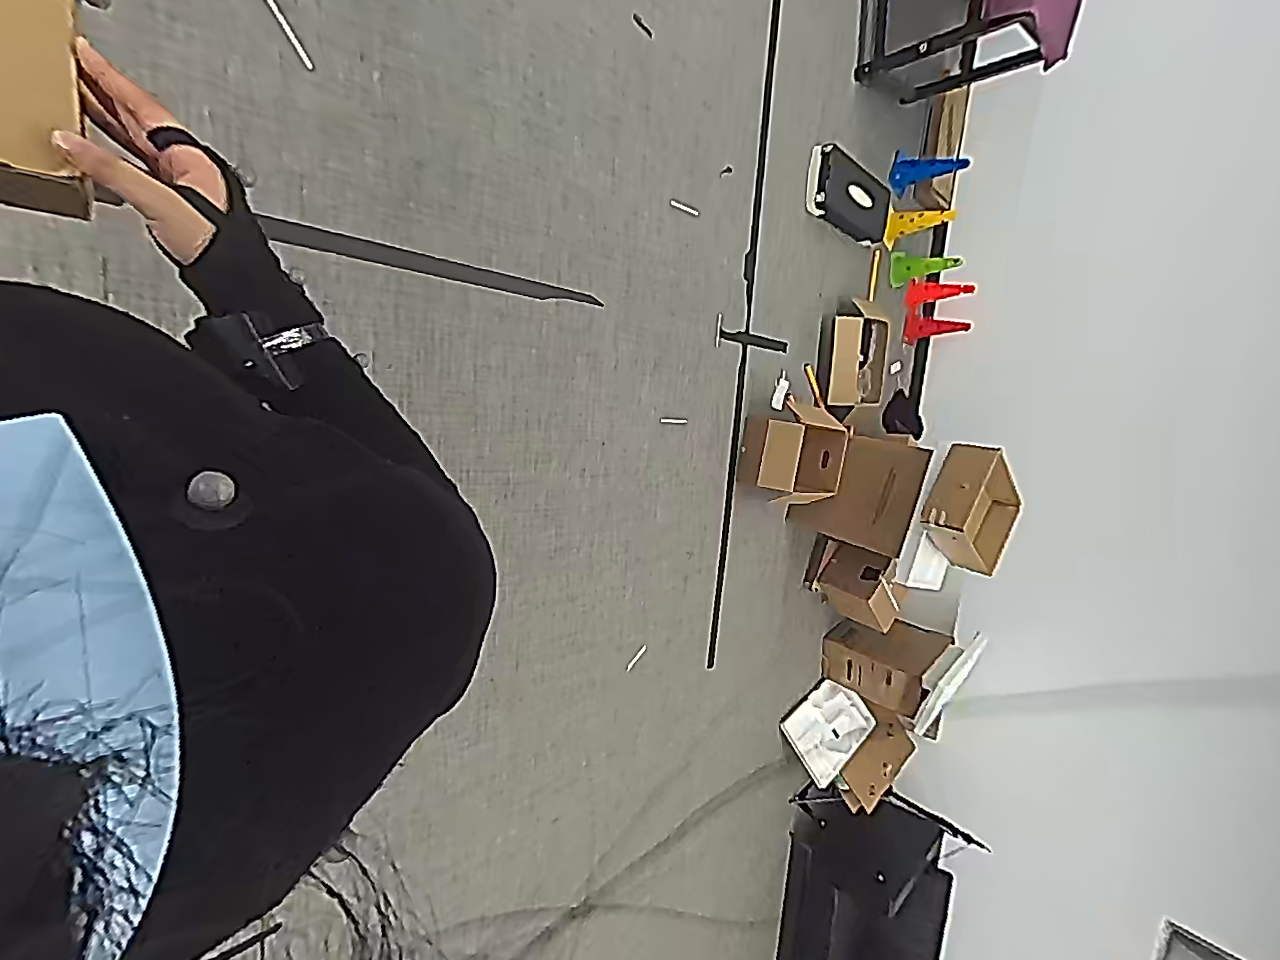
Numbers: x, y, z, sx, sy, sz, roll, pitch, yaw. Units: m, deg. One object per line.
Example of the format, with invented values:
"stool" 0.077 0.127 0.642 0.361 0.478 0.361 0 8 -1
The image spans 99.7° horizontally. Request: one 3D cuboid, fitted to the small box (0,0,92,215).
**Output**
"small box" -0.452 -0.283 0.325 0.168 0.176 0.179 -3 104 -44
